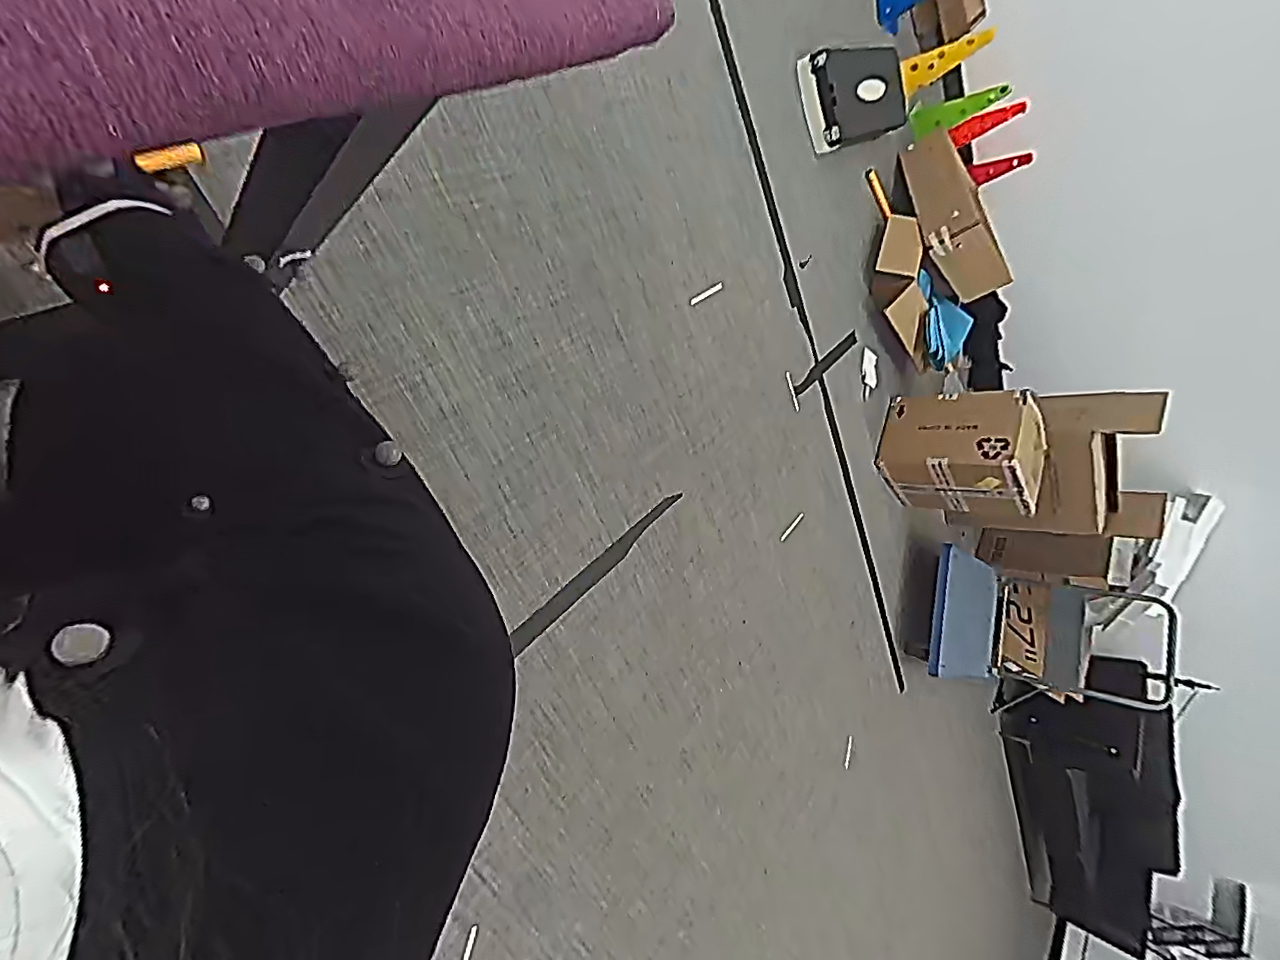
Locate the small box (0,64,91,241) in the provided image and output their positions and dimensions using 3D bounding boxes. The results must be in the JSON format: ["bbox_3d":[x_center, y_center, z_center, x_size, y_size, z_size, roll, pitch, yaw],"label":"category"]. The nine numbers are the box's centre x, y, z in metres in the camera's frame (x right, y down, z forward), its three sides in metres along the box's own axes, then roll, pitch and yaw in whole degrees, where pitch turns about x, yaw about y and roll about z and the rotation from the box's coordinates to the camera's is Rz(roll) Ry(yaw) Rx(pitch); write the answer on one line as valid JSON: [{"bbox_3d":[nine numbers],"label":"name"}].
[{"bbox_3d":[-0.590,-0.294,0.413,0.168,0.176,0.179,-37,114,-28],"label":"small box"}]
